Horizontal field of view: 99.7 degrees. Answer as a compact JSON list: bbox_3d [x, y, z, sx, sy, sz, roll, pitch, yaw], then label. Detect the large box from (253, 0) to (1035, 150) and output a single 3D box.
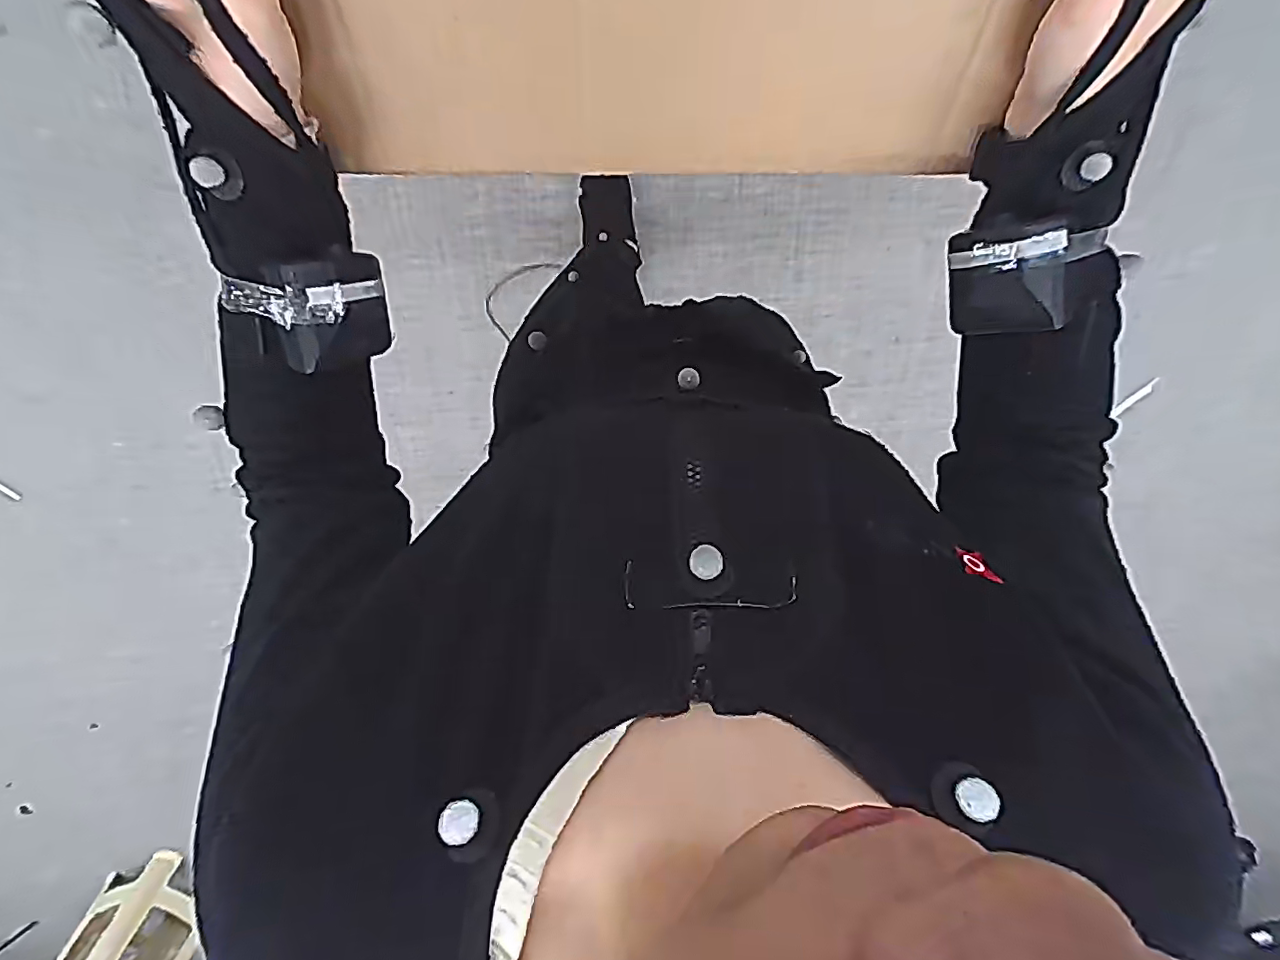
[{"bbox_3d":[-0.001,-0.413,0.295,0.408,0.320,0.320,-2,143,-2],"label":"large box"}]
